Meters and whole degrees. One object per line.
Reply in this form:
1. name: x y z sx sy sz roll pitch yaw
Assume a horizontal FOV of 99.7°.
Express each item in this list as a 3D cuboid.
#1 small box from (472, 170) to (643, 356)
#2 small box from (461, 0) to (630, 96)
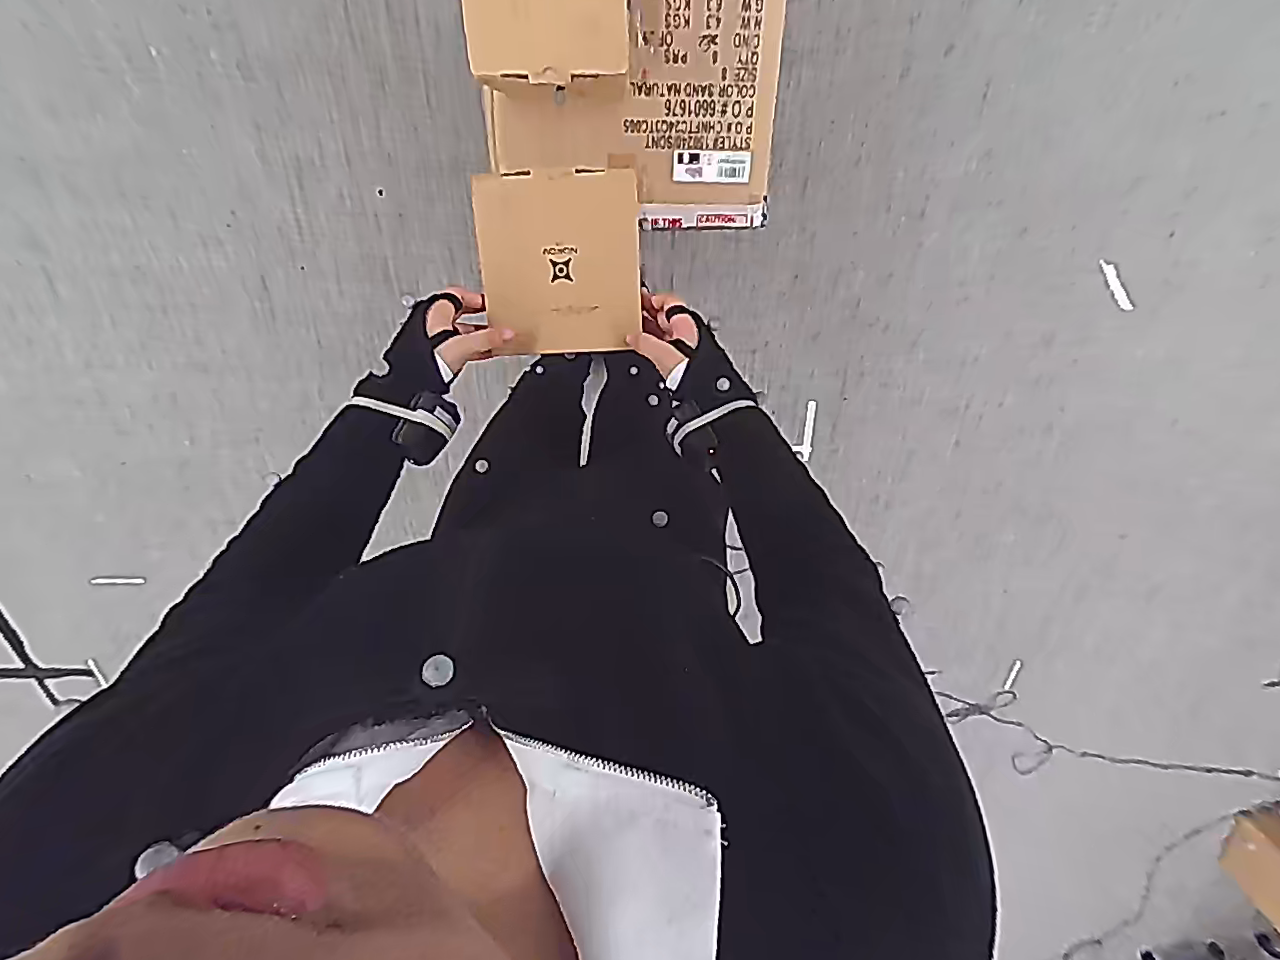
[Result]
1. small box: -0.084 -0.244 0.634 0.168 0.176 0.179 -3 109 1
2. small box: -0.094 -0.528 0.587 0.168 0.176 0.179 0 121 -1
